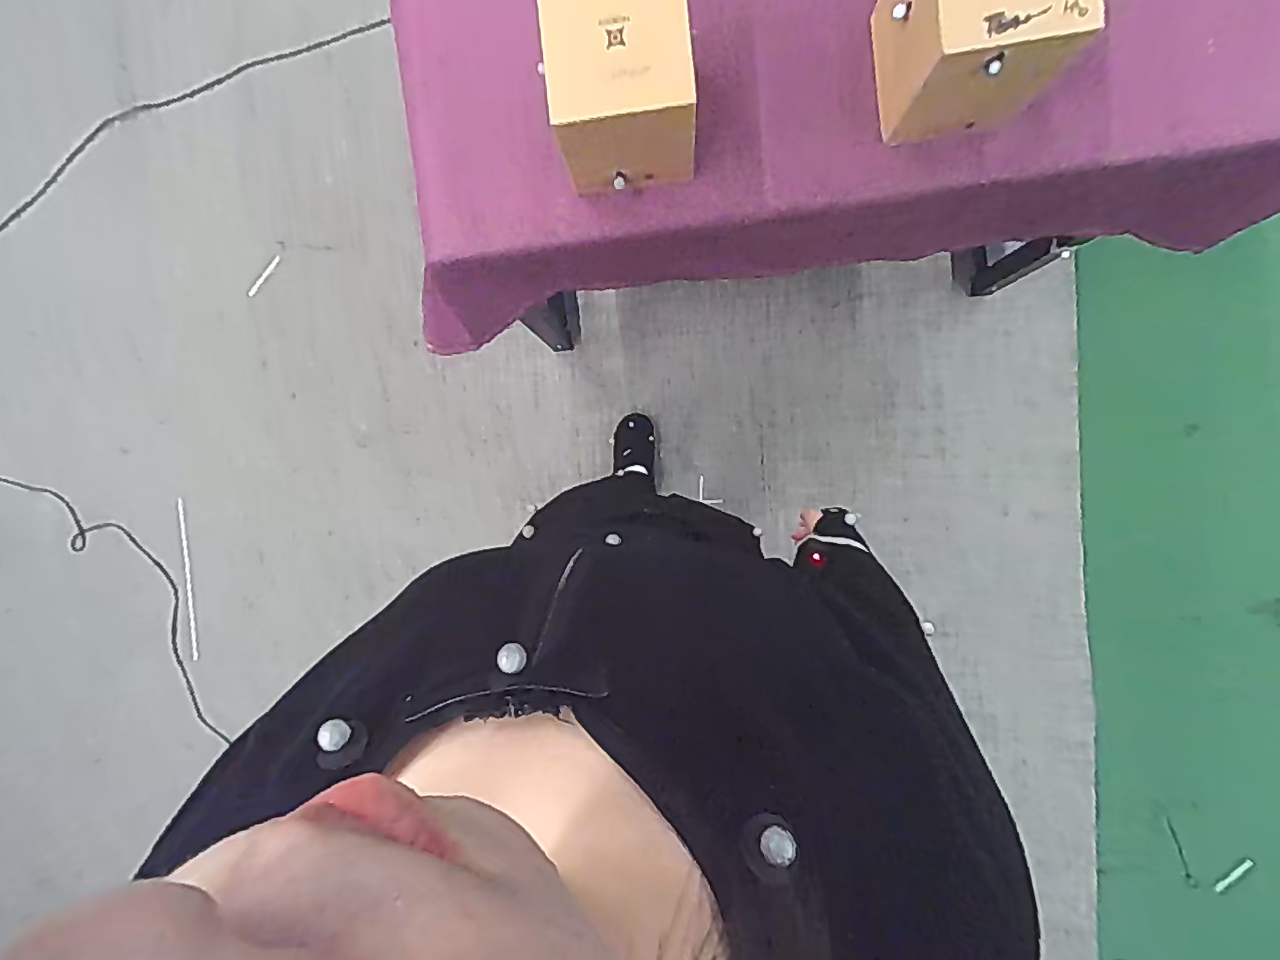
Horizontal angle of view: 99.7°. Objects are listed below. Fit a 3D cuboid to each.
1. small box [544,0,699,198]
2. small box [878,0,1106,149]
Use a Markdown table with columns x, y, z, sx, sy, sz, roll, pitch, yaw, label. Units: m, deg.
| x | y | z | sx | sy | sz | roll | pitch | yaw | label |
| --- | --- | --- | --- | --- | --- | --- | --- | --- | --- |
| -0.017 | -0.487 | 0.677 | 0.168 | 0.176 | 0.179 | -5 | 92 | 5 | small box |
| 0.399 | -0.539 | 0.644 | 0.168 | 0.176 | 0.179 | -6 | 91 | 5 | small box |
